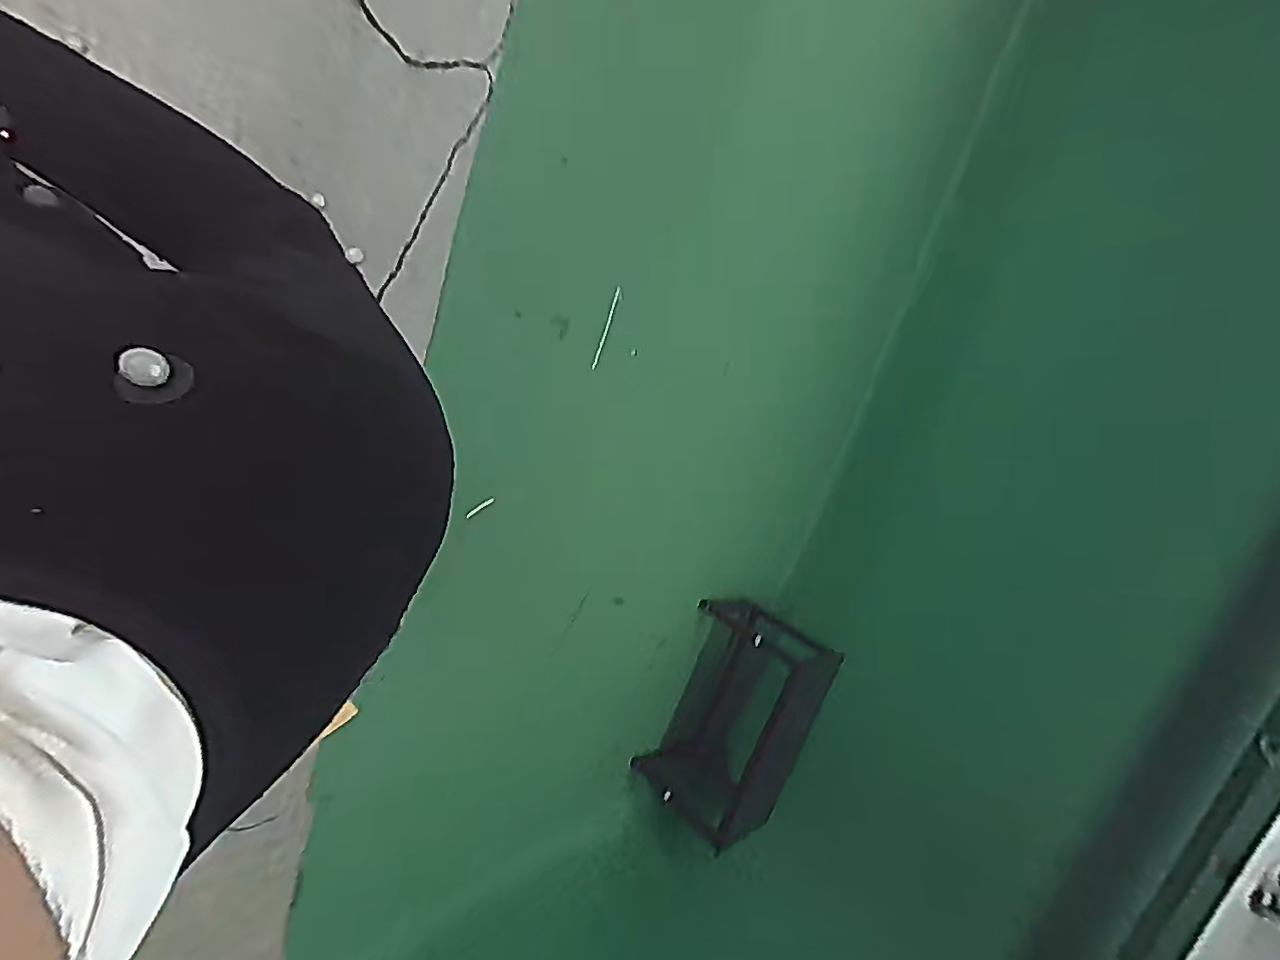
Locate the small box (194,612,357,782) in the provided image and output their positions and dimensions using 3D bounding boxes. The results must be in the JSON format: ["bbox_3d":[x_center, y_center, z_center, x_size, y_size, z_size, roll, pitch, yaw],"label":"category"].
[{"bbox_3d":[-0.640,0.369,0.946,0.179,0.176,0.168,-33,132,-33],"label":"small box"}]
